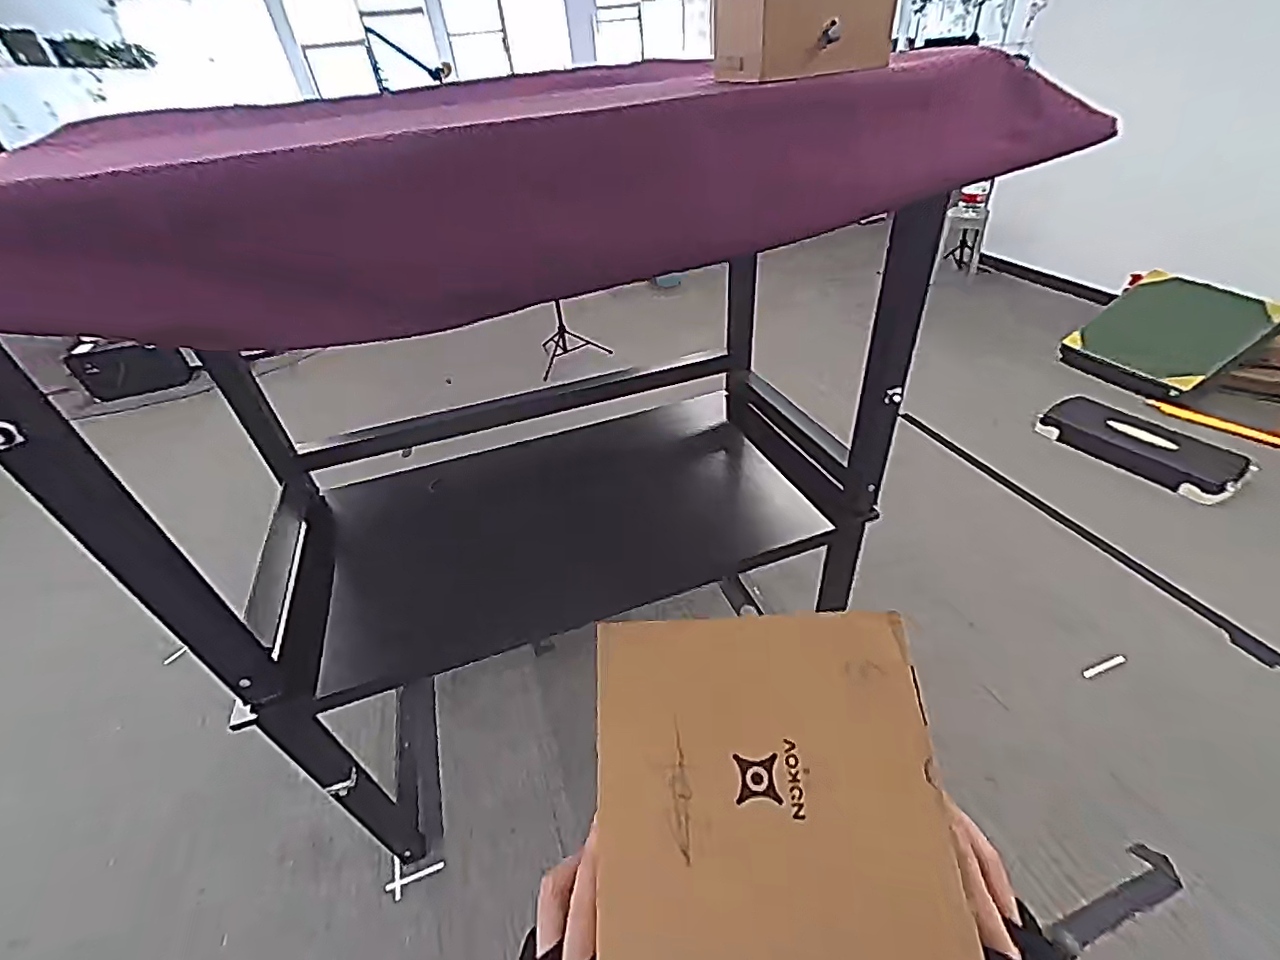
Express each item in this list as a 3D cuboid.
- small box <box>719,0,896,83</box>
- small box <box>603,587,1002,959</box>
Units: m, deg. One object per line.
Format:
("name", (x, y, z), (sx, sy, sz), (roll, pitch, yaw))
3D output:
("small box", (0.204, -0.609, 0.672), (0.179, 0.176, 0.168), (-13, 37, -8))
("small box", (0.076, 0.170, 0.342), (0.179, 0.176, 0.168), (-4, 63, 5))
